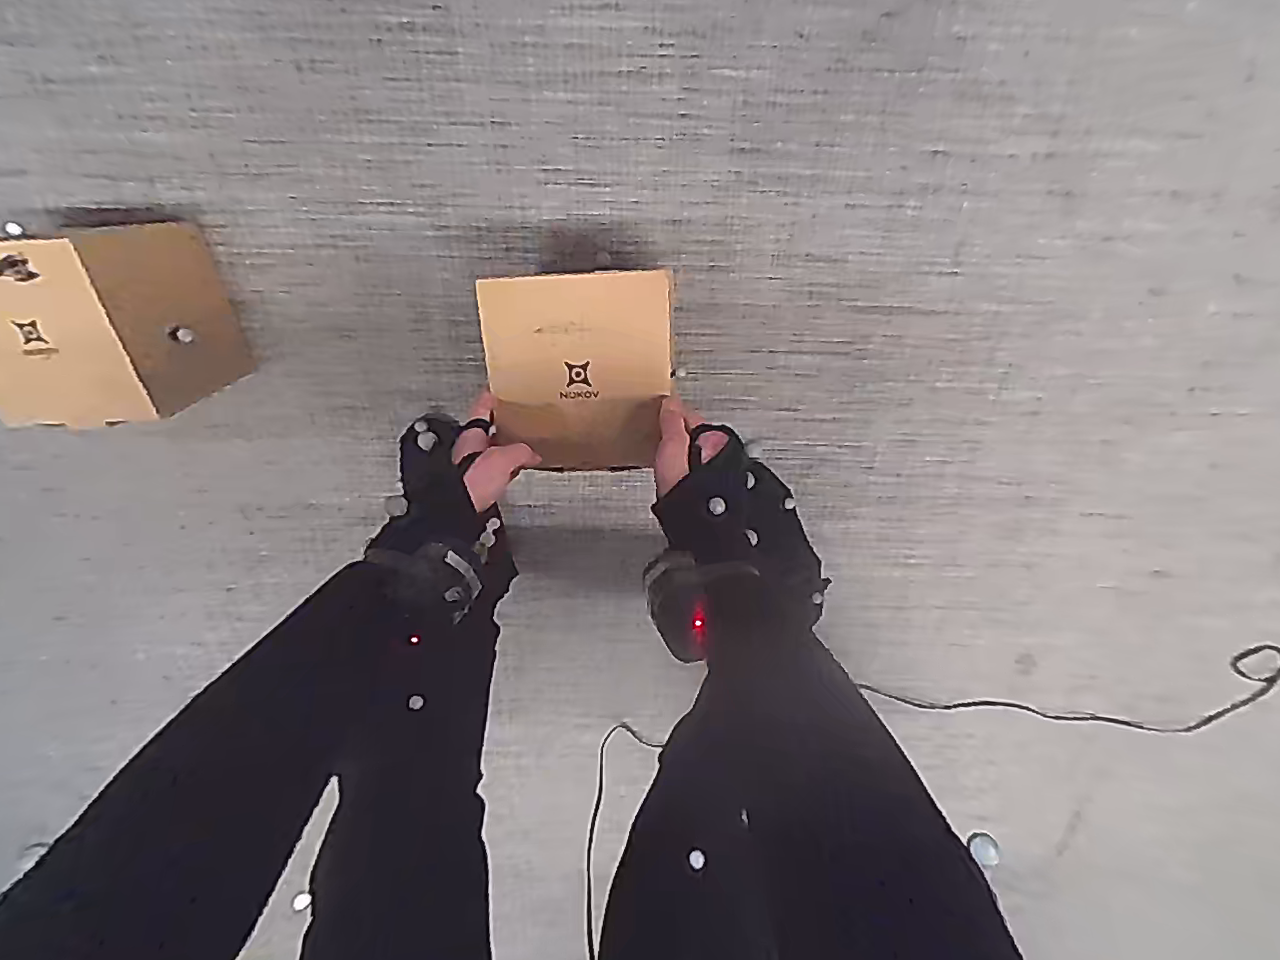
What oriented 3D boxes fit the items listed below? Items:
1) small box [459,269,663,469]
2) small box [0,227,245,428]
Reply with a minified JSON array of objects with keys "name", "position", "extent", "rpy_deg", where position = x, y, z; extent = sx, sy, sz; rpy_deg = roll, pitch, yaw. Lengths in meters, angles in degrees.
[{"name":"small box","position":[-0.064,-0.121,0.558],"extent":[0.168,0.176,0.179],"rpy_deg":[-1,110,5]},{"name":"small box","position":[-0.586,-0.171,0.591],"extent":[0.168,0.176,0.179],"rpy_deg":[-2,120,0]}]
